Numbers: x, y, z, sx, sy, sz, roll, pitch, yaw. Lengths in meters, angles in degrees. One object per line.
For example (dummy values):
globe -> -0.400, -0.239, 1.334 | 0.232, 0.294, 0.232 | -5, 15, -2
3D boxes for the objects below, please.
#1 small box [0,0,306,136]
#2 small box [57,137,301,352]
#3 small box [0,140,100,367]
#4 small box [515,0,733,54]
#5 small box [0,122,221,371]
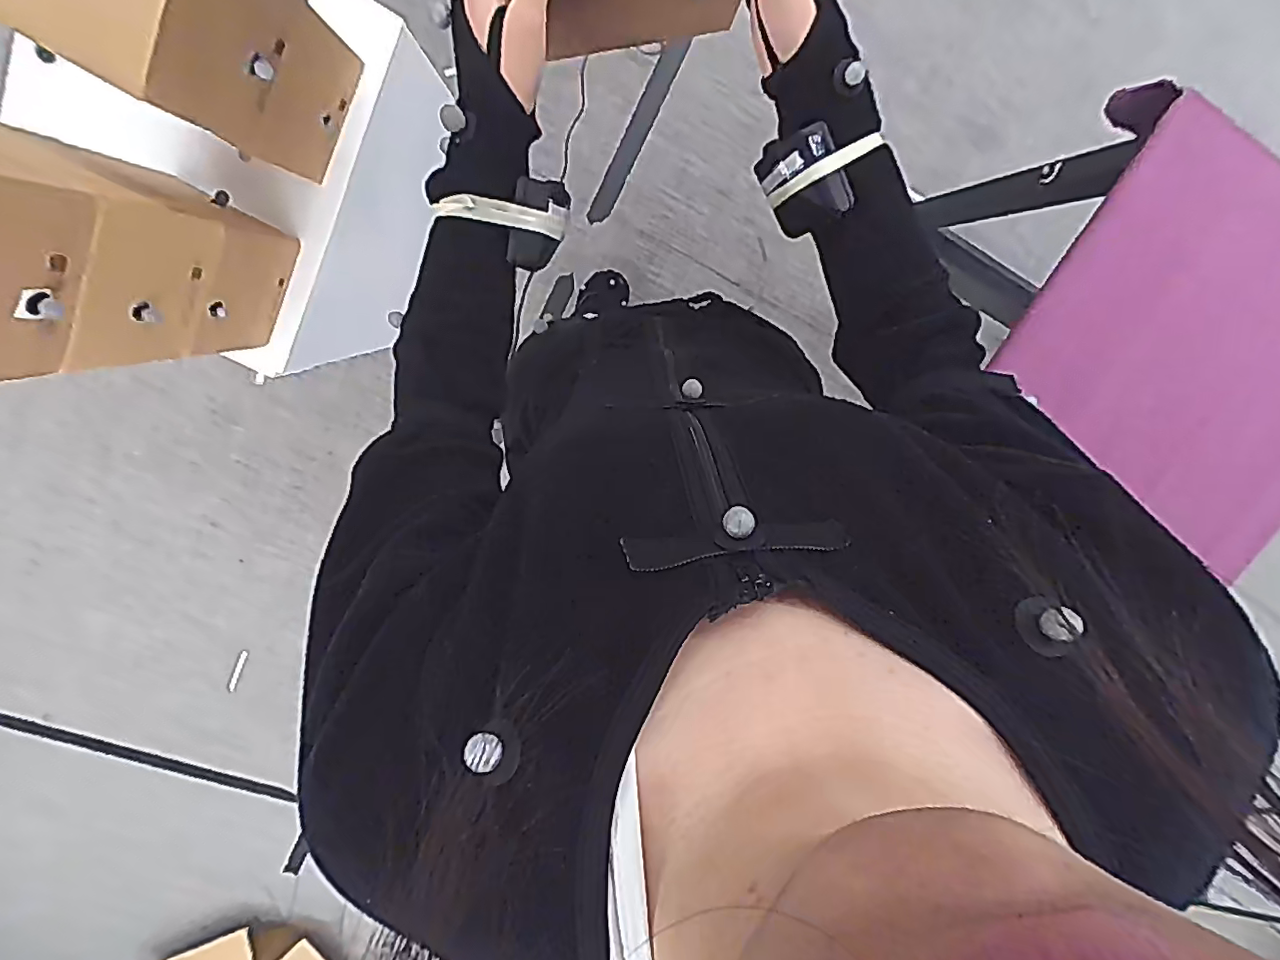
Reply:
small box -> -0.434, -0.434, 0.460 | 0.179, 0.176, 0.168 | 27, 105, -14
small box -> -0.573, -0.277, 0.673 | 0.179, 0.176, 0.168 | 26, 105, -12
small box -> -0.544, -0.177, 0.366 | 0.179, 0.176, 0.168 | 24, 105, -13
small box -> -0.014, -0.423, 0.360 | 0.179, 0.176, 0.168 | -8, 109, 2
small box -> -0.558, -0.226, 0.520 | 0.179, 0.176, 0.168 | 25, 104, -12
